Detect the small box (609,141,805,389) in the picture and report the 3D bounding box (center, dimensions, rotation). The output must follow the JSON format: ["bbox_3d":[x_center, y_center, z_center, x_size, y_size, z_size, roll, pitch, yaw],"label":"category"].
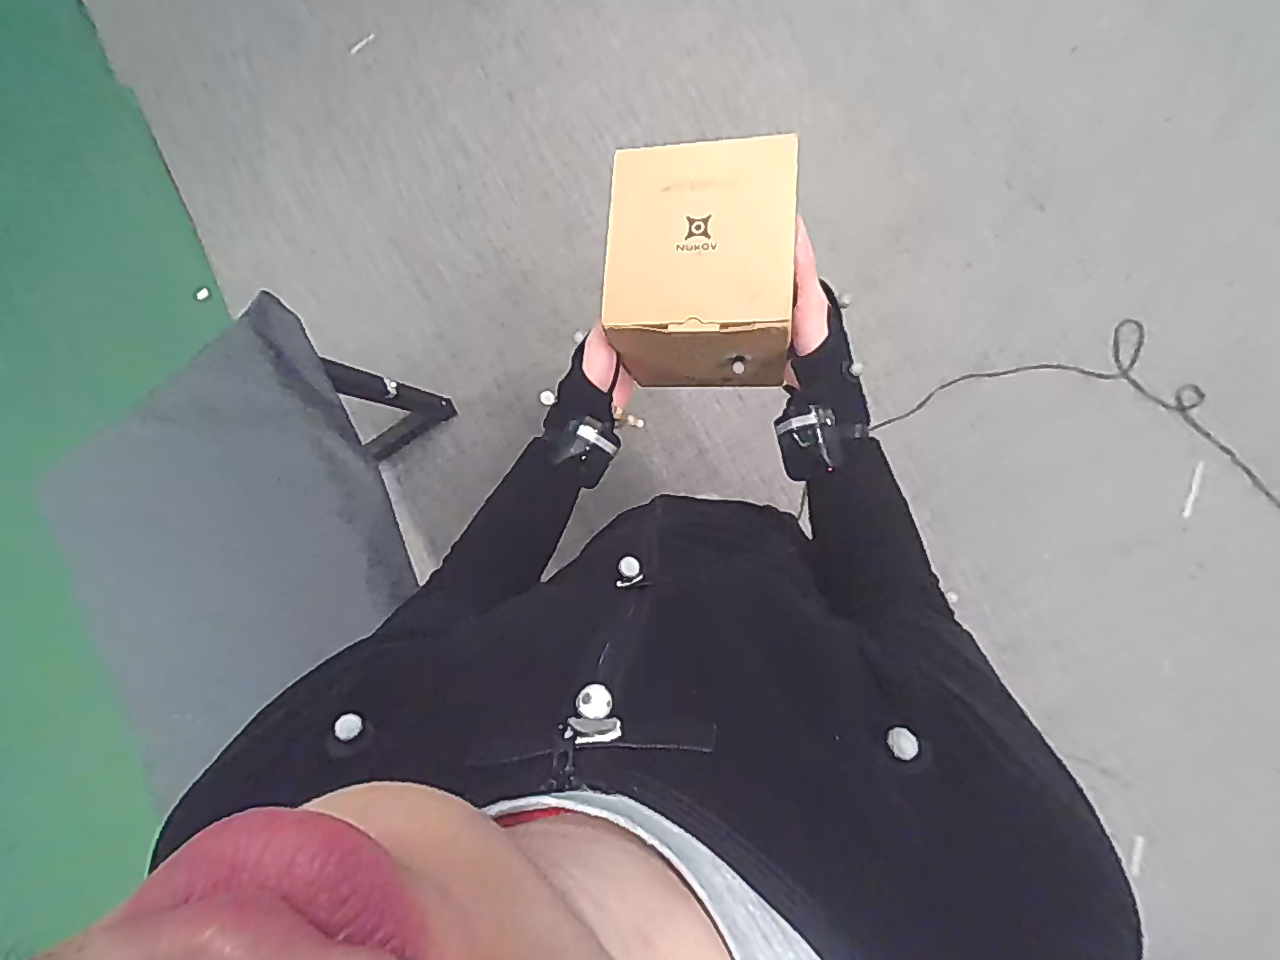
[{"bbox_3d":[0.073,-0.199,0.549,0.168,0.176,0.179,2,80,11],"label":"small box"}]
